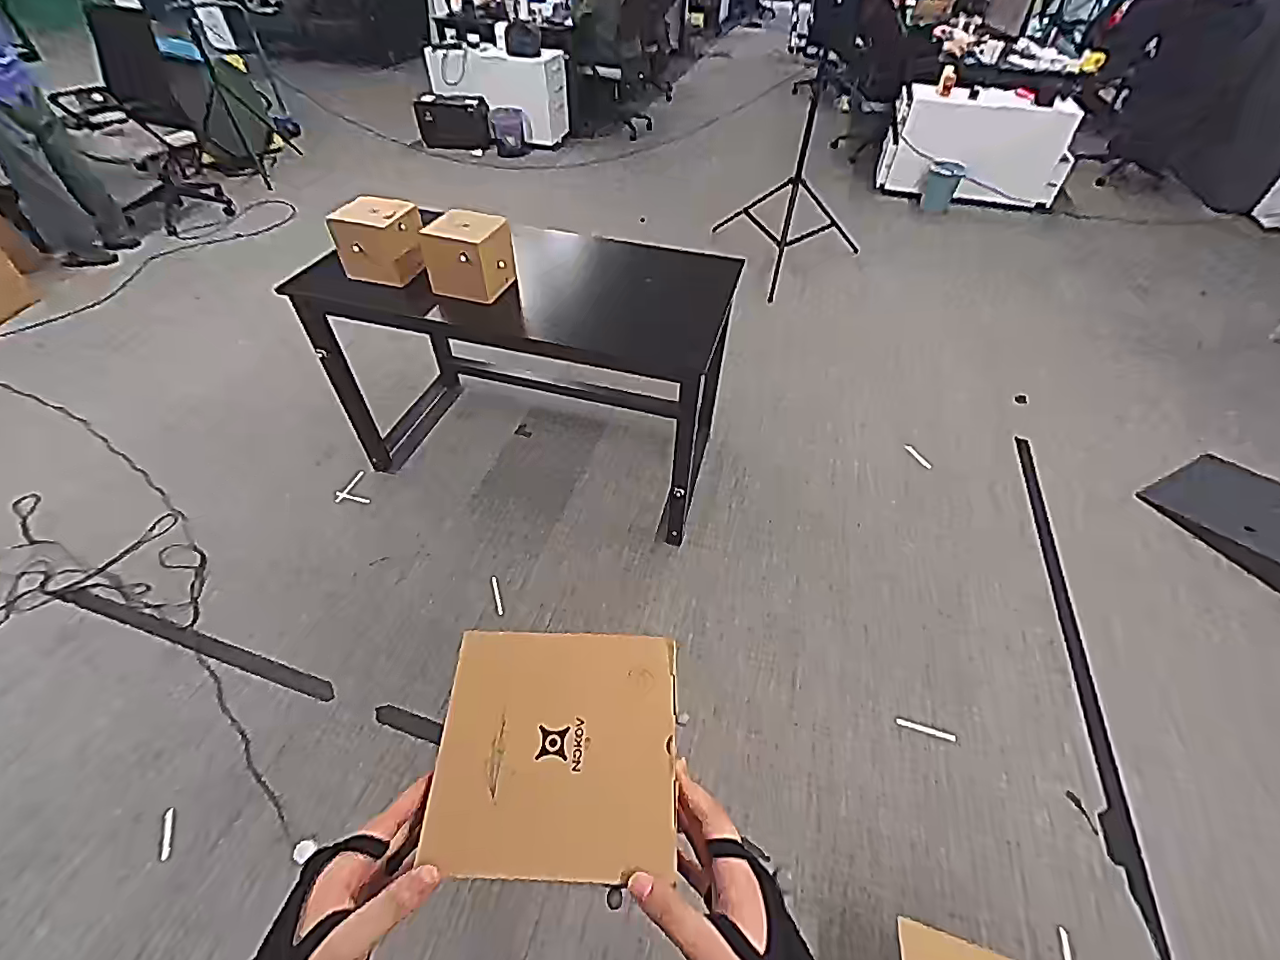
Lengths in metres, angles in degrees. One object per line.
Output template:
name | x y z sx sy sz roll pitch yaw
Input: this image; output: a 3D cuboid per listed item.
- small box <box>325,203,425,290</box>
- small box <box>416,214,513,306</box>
small box | -0.725 -0.651 1.509 0.179 0.176 0.168 11 48 9
small box | -0.463 -0.591 1.461 0.179 0.176 0.168 14 48 11
